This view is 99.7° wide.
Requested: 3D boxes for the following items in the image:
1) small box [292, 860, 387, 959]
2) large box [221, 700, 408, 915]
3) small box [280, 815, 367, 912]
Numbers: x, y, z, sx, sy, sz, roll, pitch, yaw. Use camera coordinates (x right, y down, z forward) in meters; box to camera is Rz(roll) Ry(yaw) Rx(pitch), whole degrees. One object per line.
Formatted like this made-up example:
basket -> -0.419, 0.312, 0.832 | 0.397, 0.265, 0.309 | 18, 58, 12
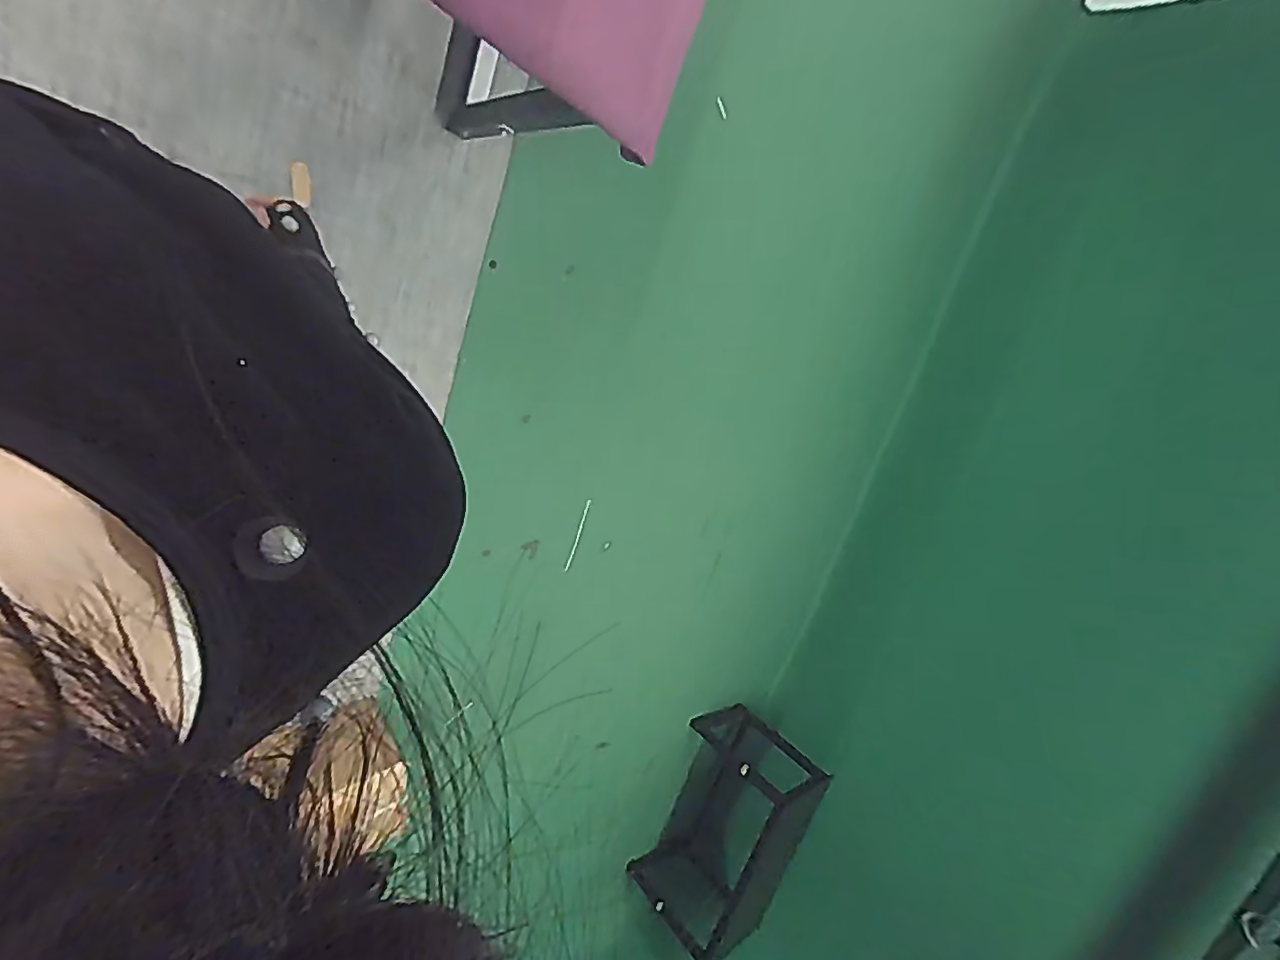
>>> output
small box -> -0.728, 1.090, 1.314 | 0.179, 0.176, 0.168 | -12, 119, -40
large box -> -0.961, 0.946, 1.620 | 0.408, 0.320, 0.320 | -13, 121, -41
small box -> -0.832, 1.028, 1.425 | 0.168, 0.176, 0.179 | -11, 118, -40
